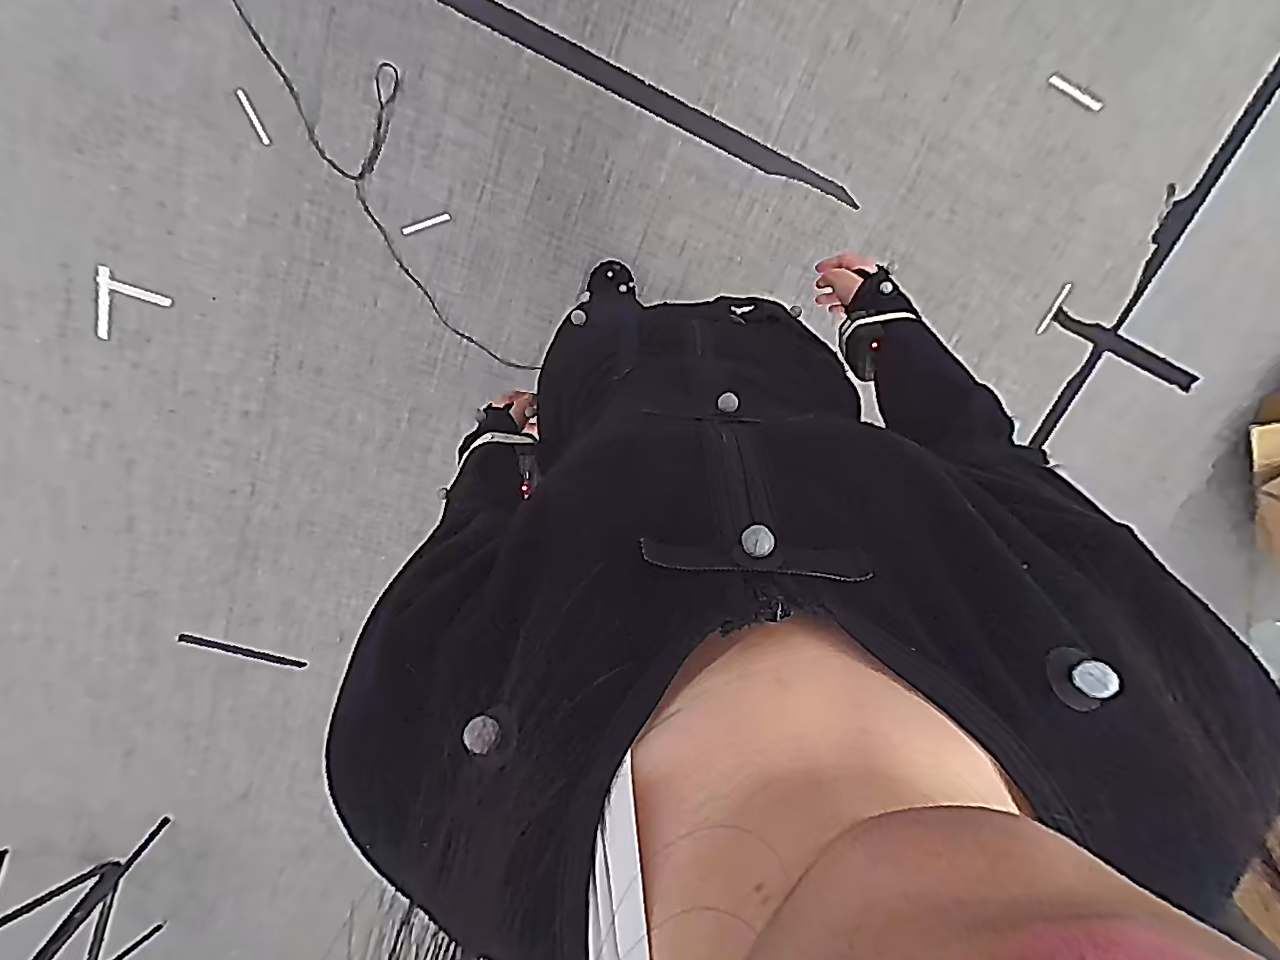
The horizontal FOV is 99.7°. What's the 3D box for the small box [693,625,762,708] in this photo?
[{"bbox_3d":[0.273,0.583,1.720,0.168,0.176,0.179,-15,113,3],"label":"small box"}]
